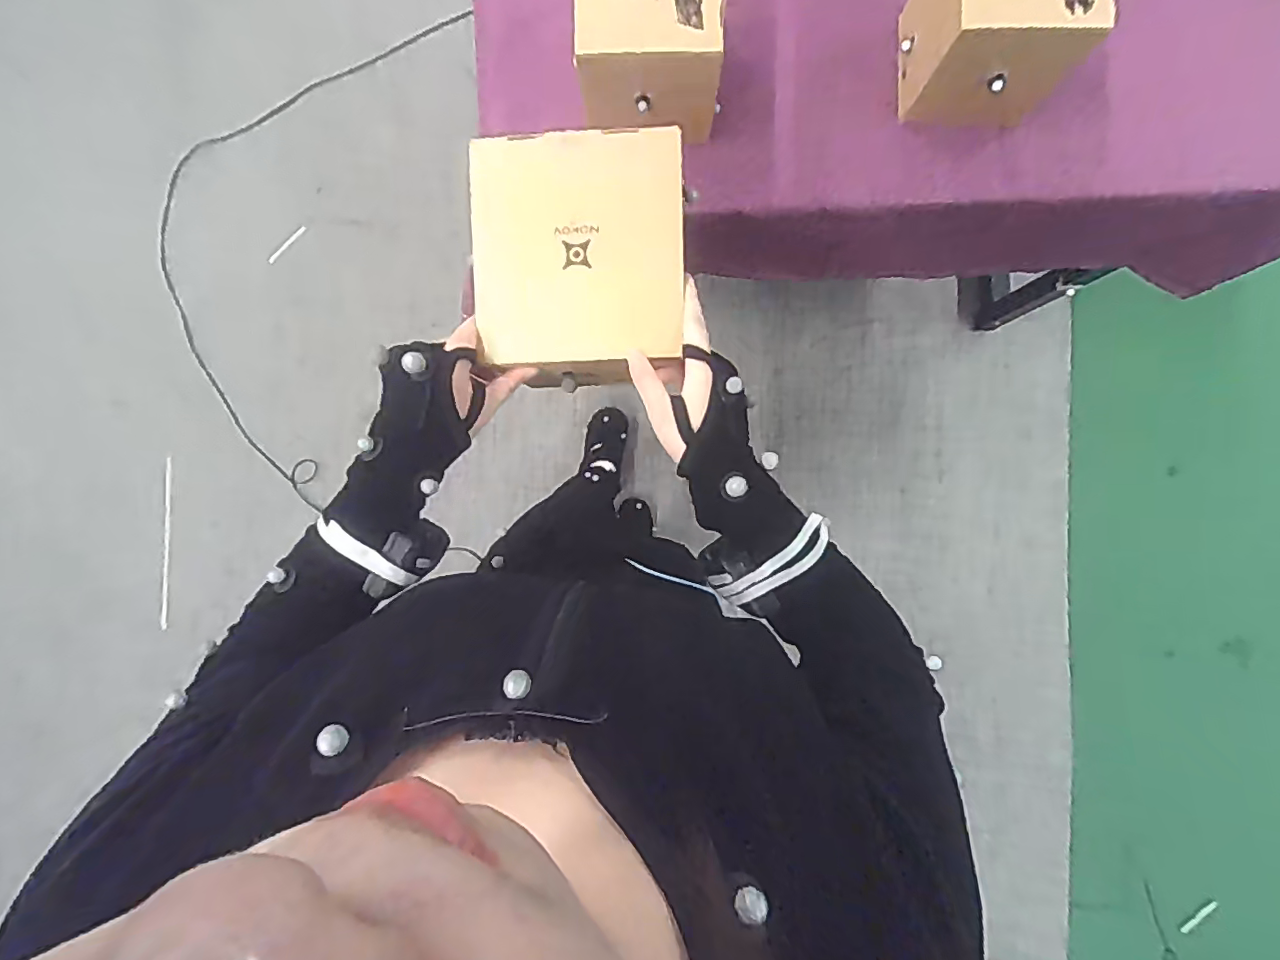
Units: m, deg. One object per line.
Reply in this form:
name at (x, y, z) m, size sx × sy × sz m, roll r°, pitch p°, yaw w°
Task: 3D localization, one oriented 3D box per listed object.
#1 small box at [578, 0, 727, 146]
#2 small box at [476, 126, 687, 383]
small box at (0.017, -0.571, 0.715) m, size 0.179 × 0.176 × 0.168 m, roll 0°, pitch 88°, yaw 2°
small box at (-0.040, -0.185, 0.500) m, size 0.168 × 0.176 × 0.179 m, roll -1°, pitch 92°, yaw 3°
